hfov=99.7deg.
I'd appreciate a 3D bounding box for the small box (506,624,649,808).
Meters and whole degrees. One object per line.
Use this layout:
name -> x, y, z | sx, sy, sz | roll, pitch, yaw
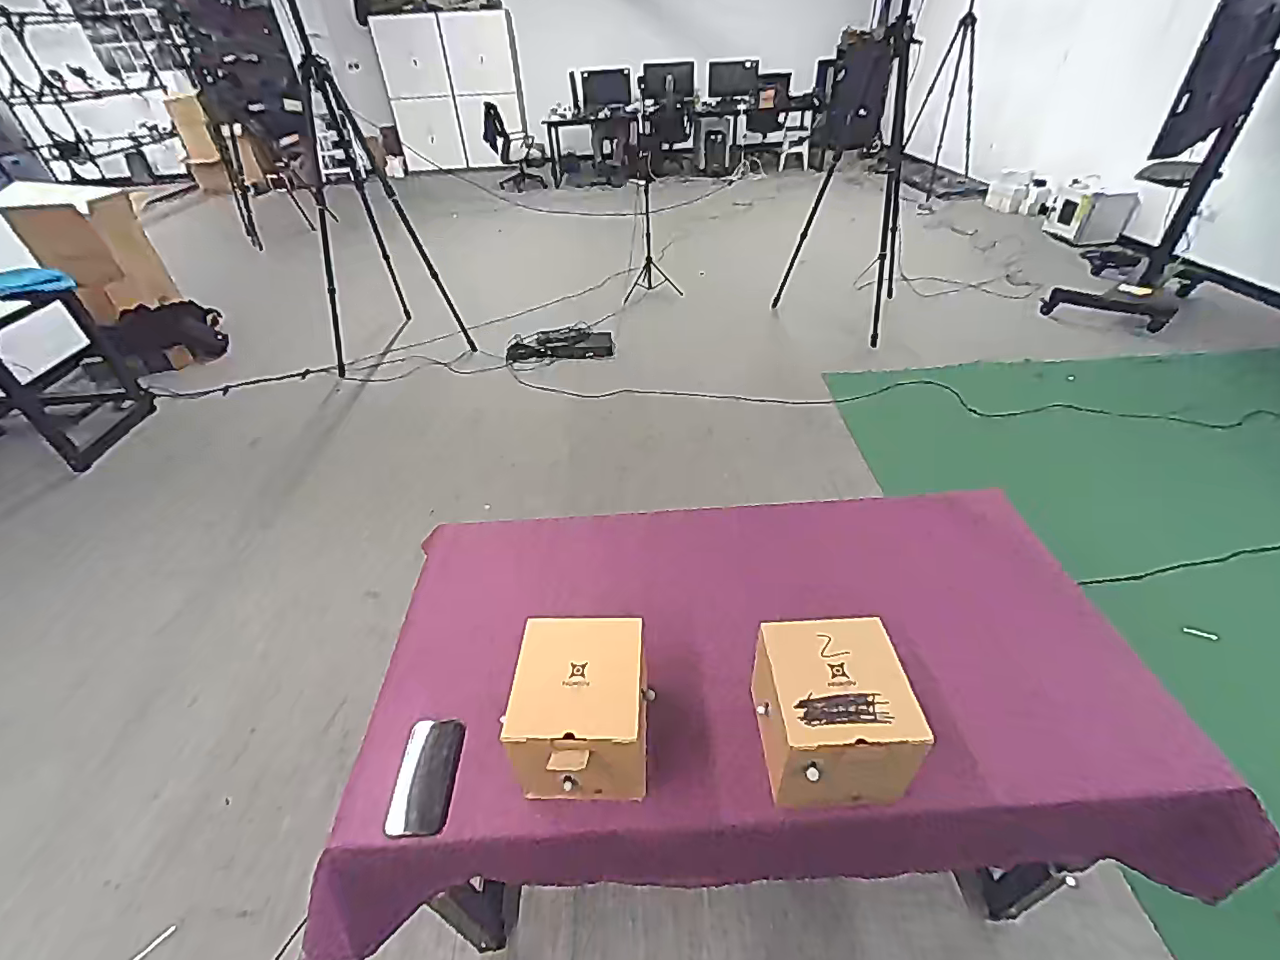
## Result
small box -> -0.073, 0.321, 0.747 | 0.168, 0.176, 0.179 | 0, 39, 3
